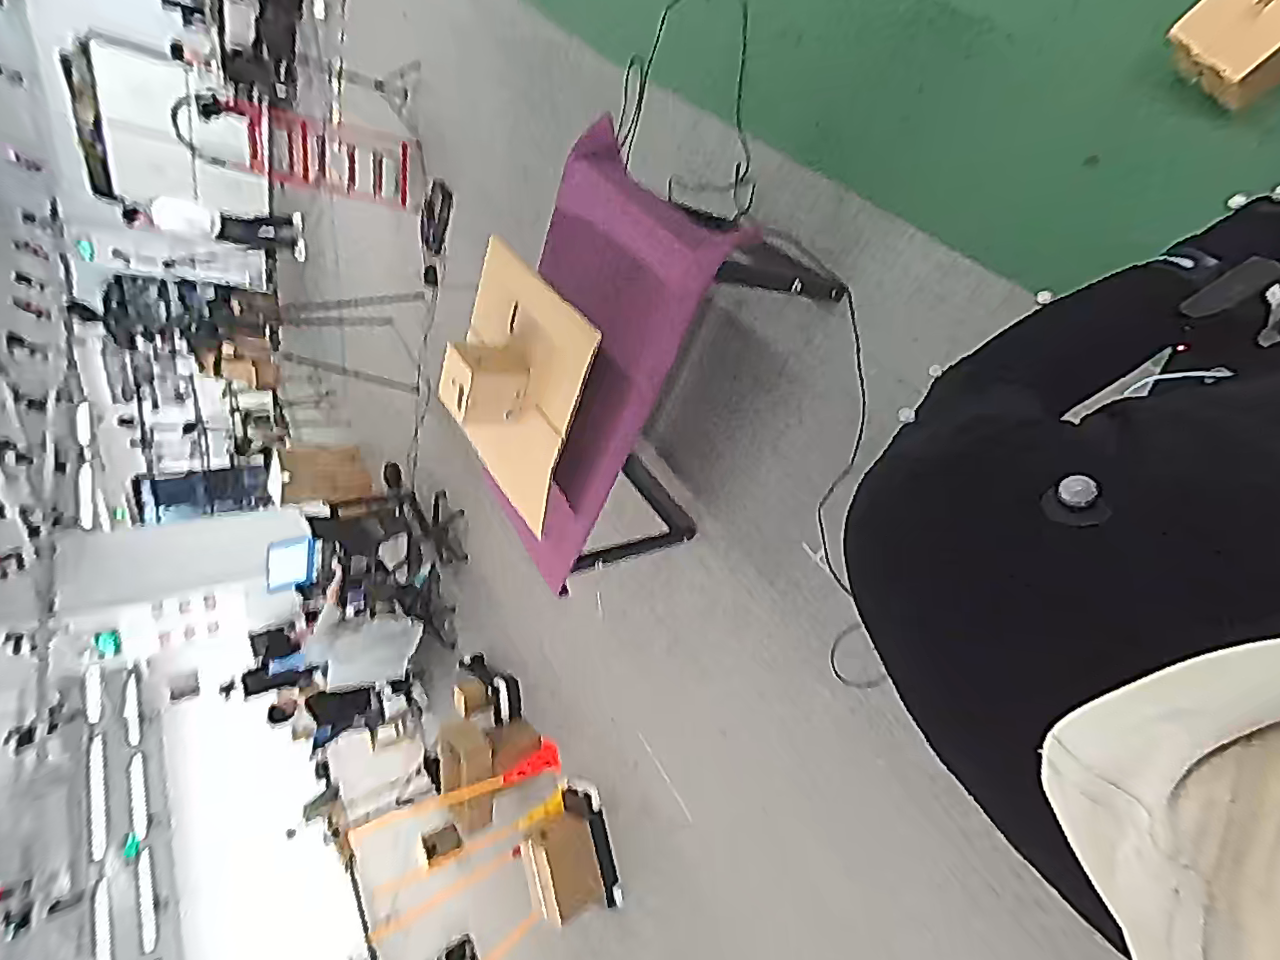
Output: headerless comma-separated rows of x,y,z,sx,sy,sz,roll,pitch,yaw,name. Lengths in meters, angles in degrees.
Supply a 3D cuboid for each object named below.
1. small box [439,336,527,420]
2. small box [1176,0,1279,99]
-0.438,-0.286,1.512,0.179,0.176,0.168,49,129,33,small box
1.134,-0.842,0.976,0.179,0.176,0.168,-47,62,45,small box
